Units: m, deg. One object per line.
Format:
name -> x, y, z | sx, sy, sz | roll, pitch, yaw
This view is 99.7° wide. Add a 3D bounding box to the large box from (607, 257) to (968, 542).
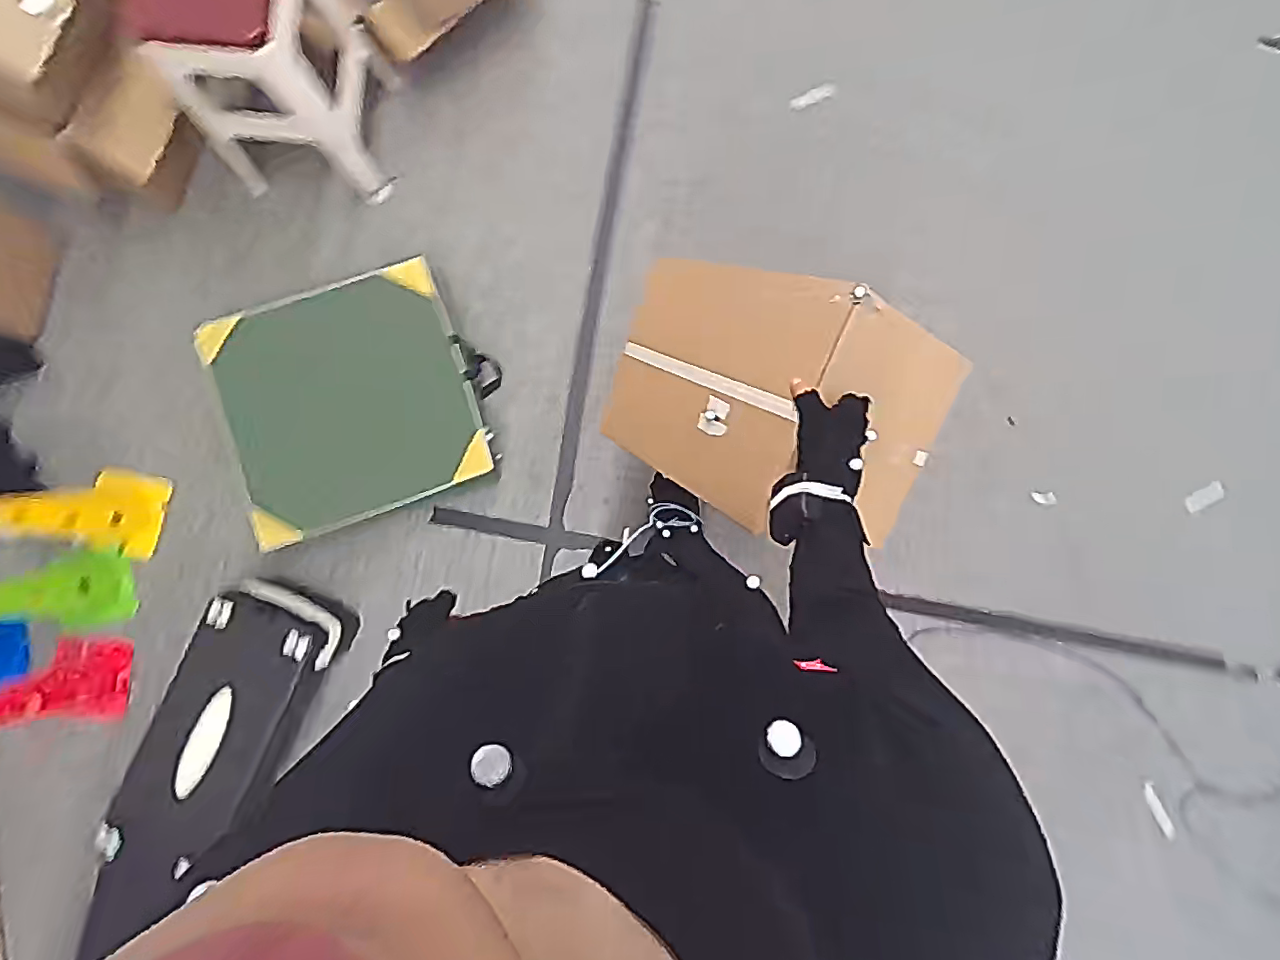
large box -> 0.215, -0.133, 0.880 | 0.320, 0.408, 0.320 | 9, 109, -40
